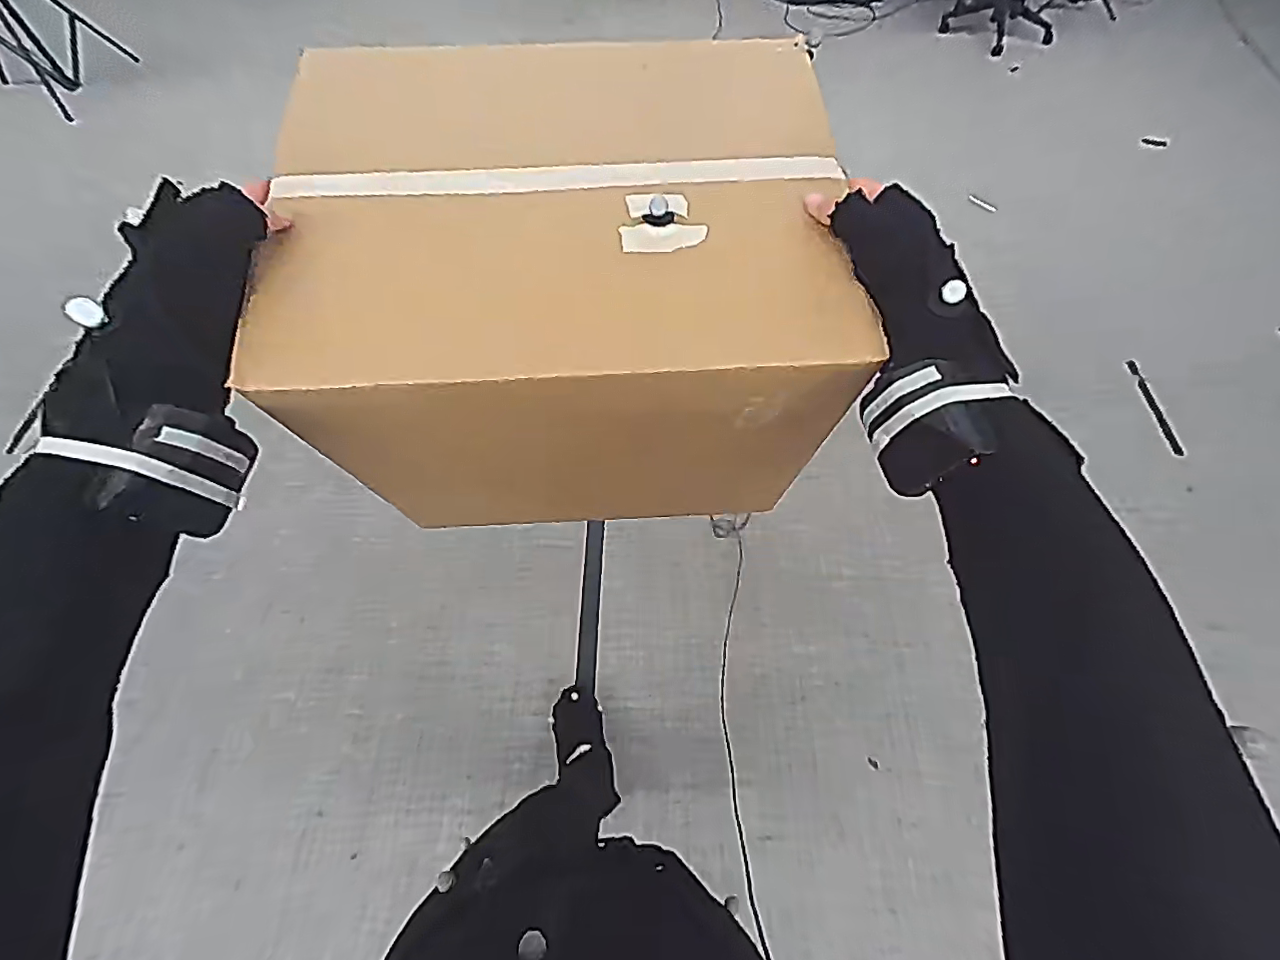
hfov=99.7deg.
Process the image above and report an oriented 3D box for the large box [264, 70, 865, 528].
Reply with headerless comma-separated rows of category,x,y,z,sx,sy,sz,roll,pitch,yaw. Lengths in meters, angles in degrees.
large box,-0.059,-0.151,0.546,0.408,0.320,0.320,-3,69,-2
